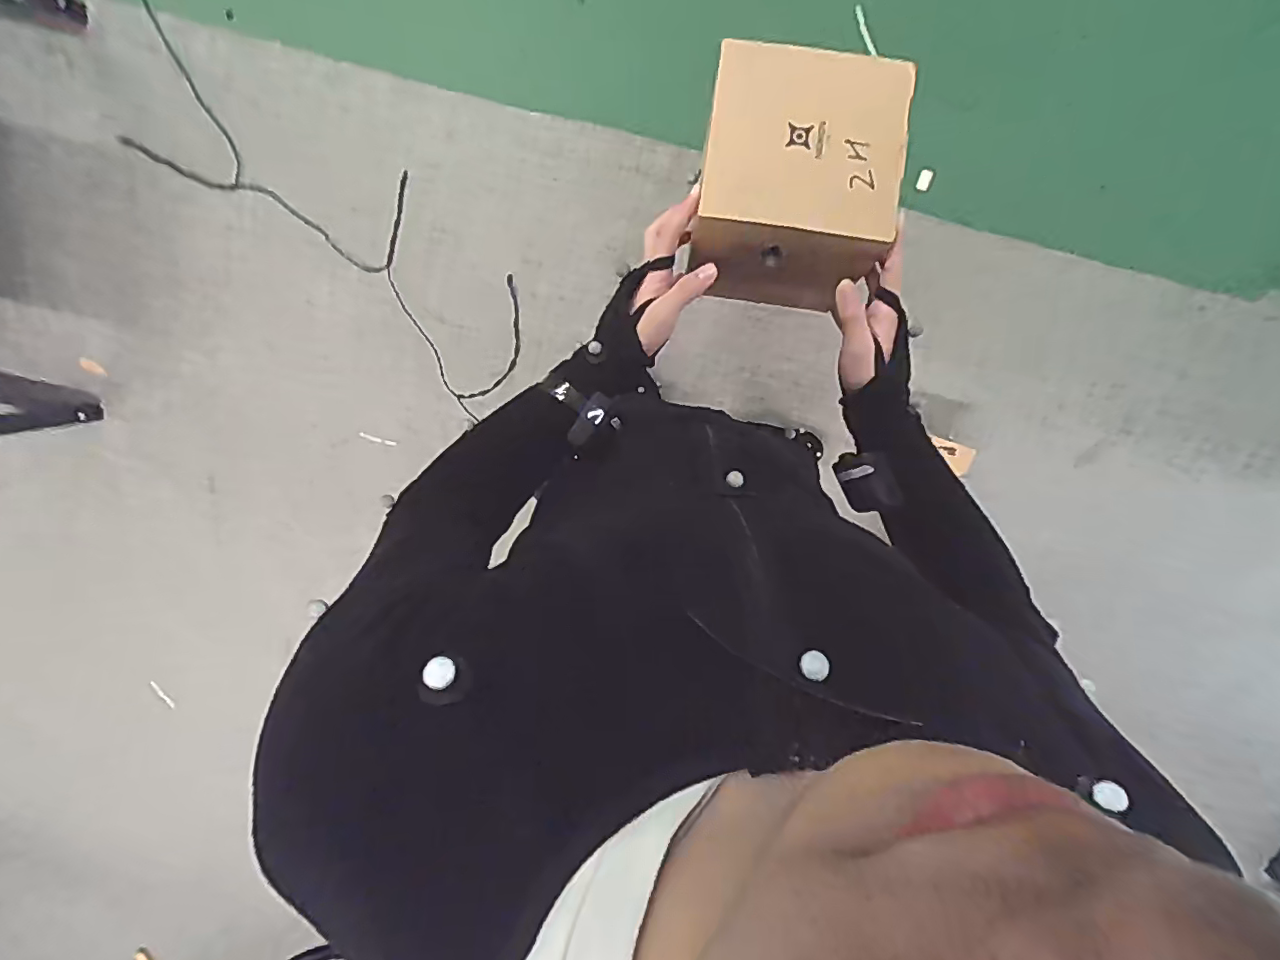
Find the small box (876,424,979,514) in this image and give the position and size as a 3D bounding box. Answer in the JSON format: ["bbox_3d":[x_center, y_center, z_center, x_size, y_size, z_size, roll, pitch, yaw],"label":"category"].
[{"bbox_3d":[0.768,-0.036,1.470,0.168,0.176,0.179,19,106,1],"label":"small box"}]
